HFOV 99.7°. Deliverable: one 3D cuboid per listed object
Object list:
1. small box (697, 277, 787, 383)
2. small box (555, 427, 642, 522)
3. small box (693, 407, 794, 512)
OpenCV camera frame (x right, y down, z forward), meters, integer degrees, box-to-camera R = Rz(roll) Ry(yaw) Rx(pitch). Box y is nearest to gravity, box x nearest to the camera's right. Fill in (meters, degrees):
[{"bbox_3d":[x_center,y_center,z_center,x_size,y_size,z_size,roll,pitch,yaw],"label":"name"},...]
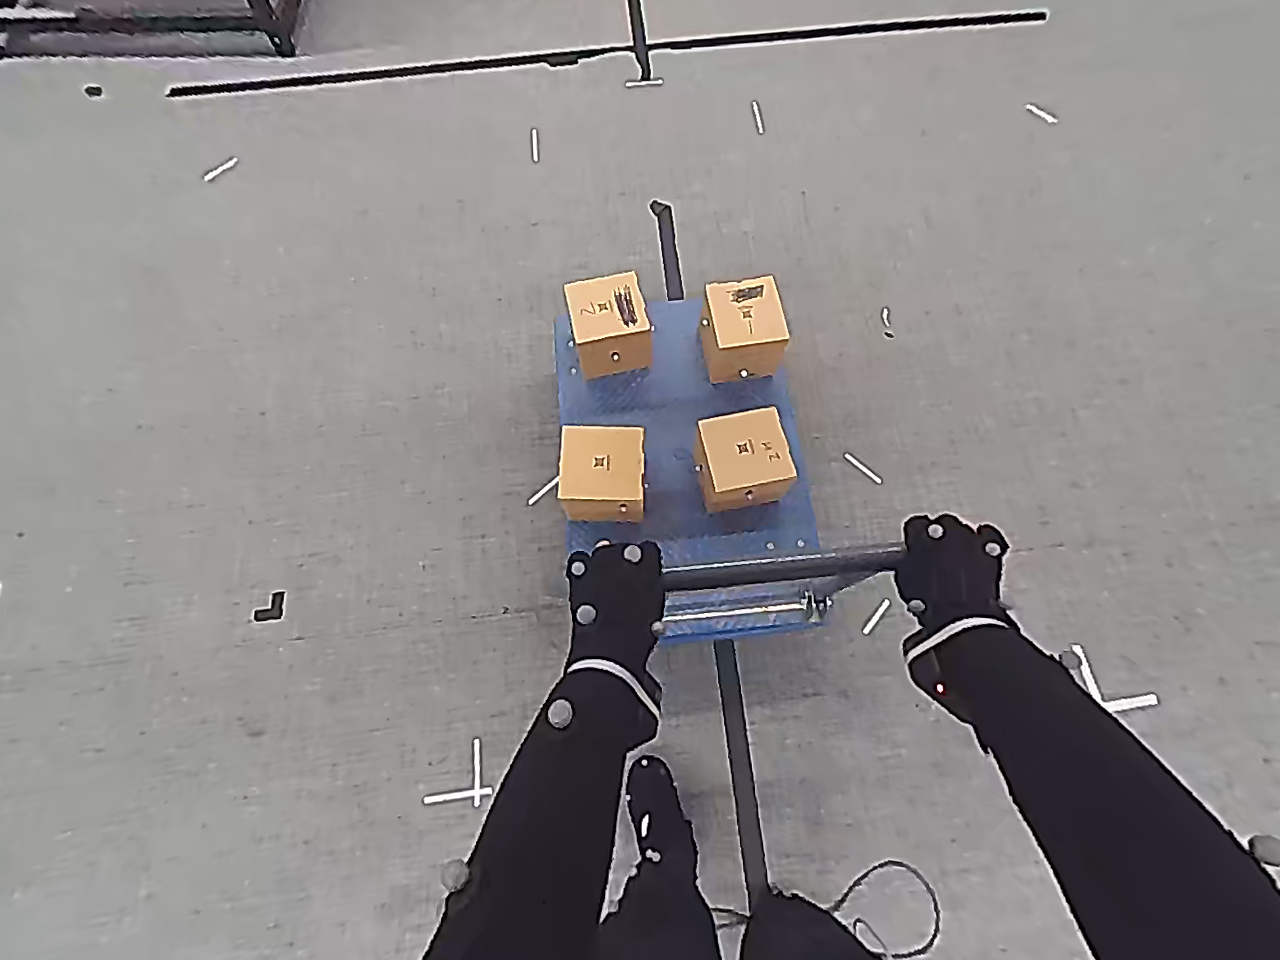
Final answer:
[{"bbox_3d":[0.237,-0.359,1.308,0.168,0.176,0.179,-9,72,-2],"label":"small box"},{"bbox_3d":[-0.085,-0.007,1.190,0.179,0.176,0.168,1,70,-1],"label":"small box"},{"bbox_3d":[0.218,-0.039,1.199,0.179,0.176,0.168,-11,72,-3],"label":"small box"}]
